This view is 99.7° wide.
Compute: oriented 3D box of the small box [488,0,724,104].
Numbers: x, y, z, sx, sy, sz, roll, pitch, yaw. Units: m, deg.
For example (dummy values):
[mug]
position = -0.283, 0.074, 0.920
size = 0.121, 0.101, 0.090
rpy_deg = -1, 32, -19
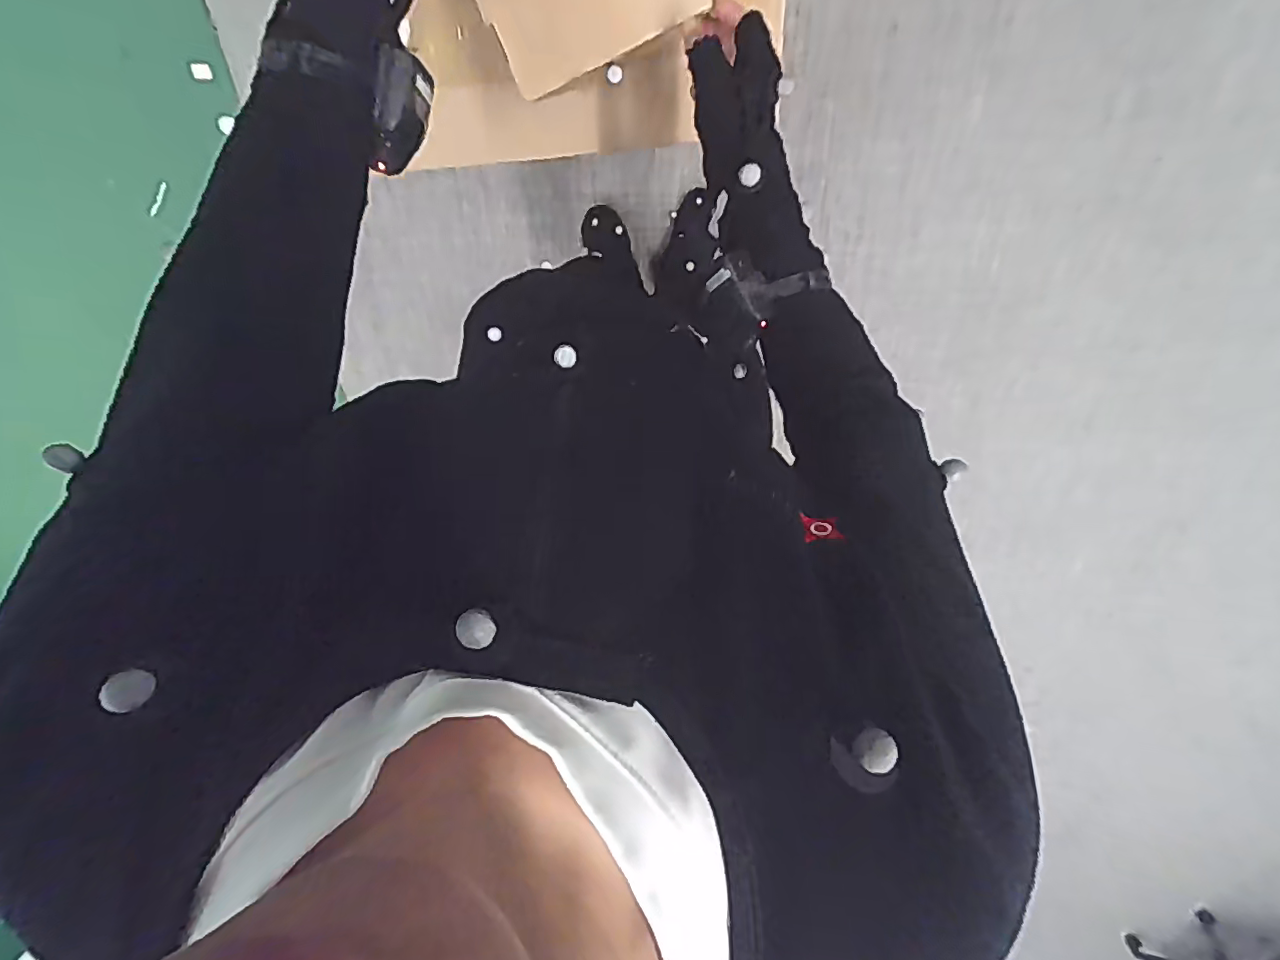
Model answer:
[small box]
position = -0.033, -0.462, 0.473
size = 0.179, 0.176, 0.168
rpy_deg = -14, 124, 22
